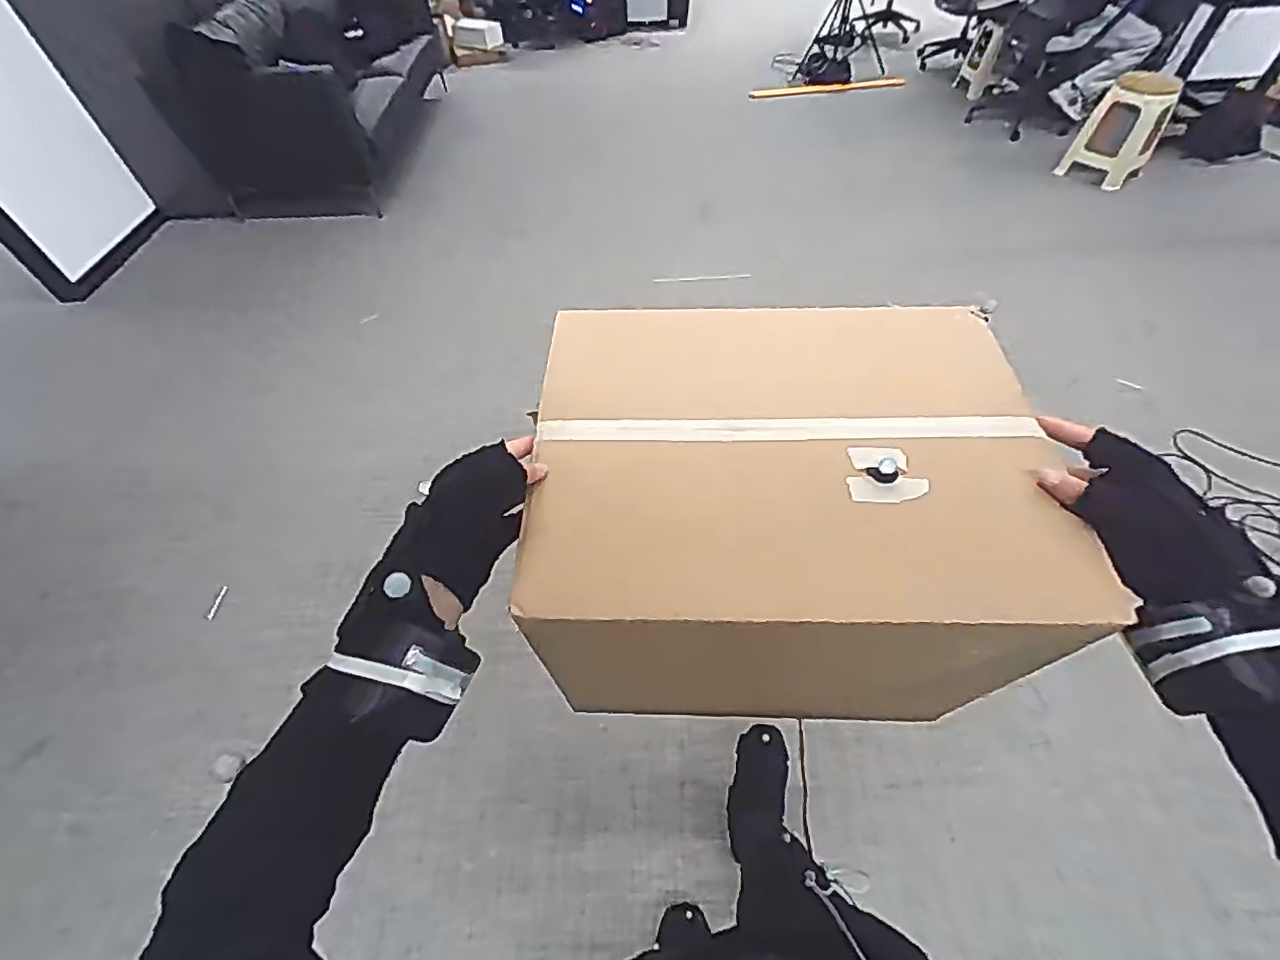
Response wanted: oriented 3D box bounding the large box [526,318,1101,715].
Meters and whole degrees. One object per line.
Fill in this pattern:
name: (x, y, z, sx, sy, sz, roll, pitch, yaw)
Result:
large box: (0.121, 0.053, 0.577, 0.408, 0.320, 0.320, -1, 56, 2)
